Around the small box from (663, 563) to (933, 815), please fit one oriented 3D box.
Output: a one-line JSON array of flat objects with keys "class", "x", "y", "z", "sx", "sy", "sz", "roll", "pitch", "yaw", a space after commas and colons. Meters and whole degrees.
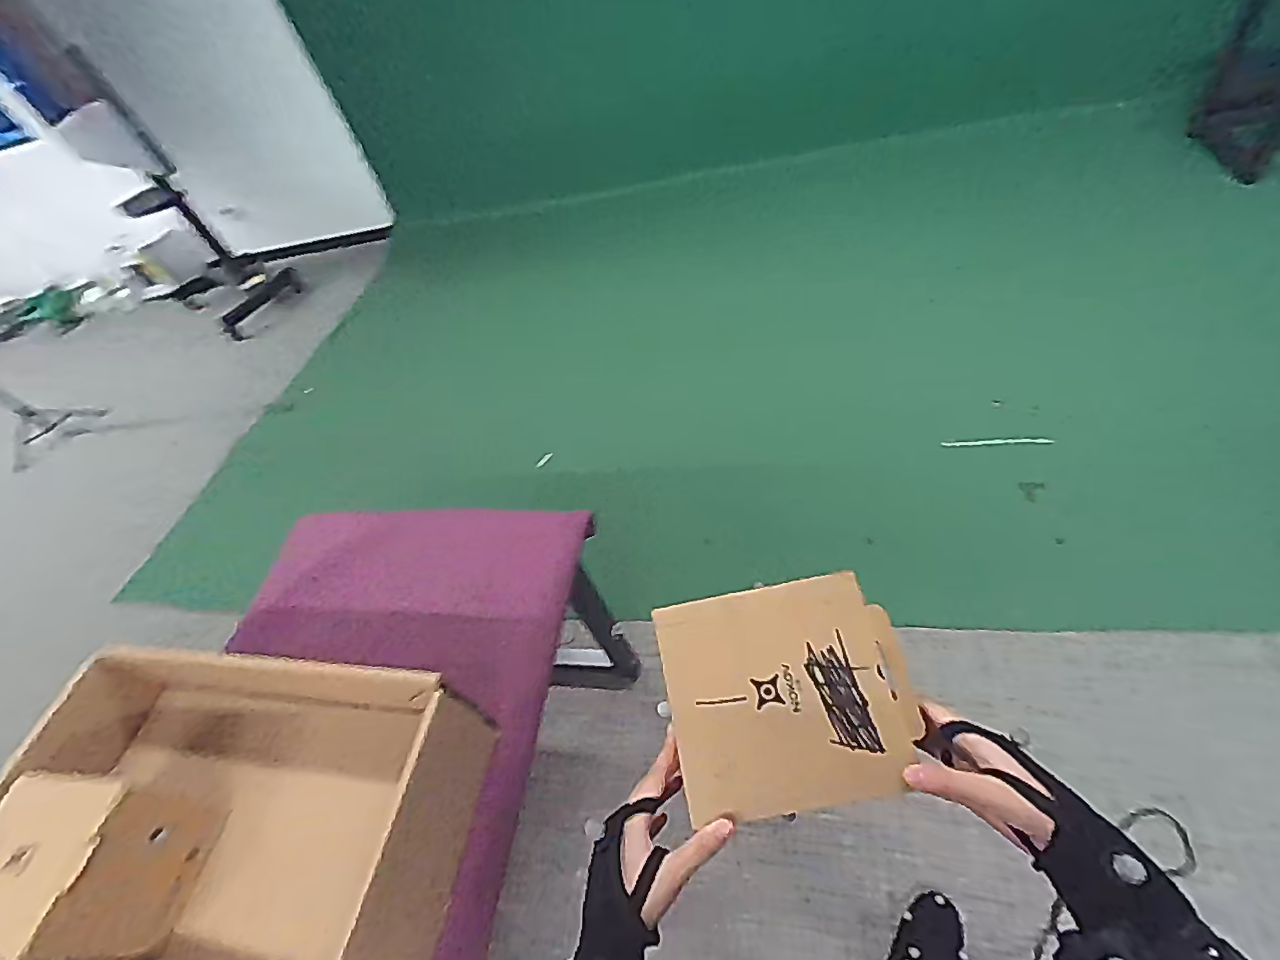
[{"class": "small box", "x": 0.123, "y": 0.189, "z": 0.495, "sx": 0.179, "sy": 0.176, "sz": 0.168, "roll": -11, "pitch": 64, "yaw": 2}]
